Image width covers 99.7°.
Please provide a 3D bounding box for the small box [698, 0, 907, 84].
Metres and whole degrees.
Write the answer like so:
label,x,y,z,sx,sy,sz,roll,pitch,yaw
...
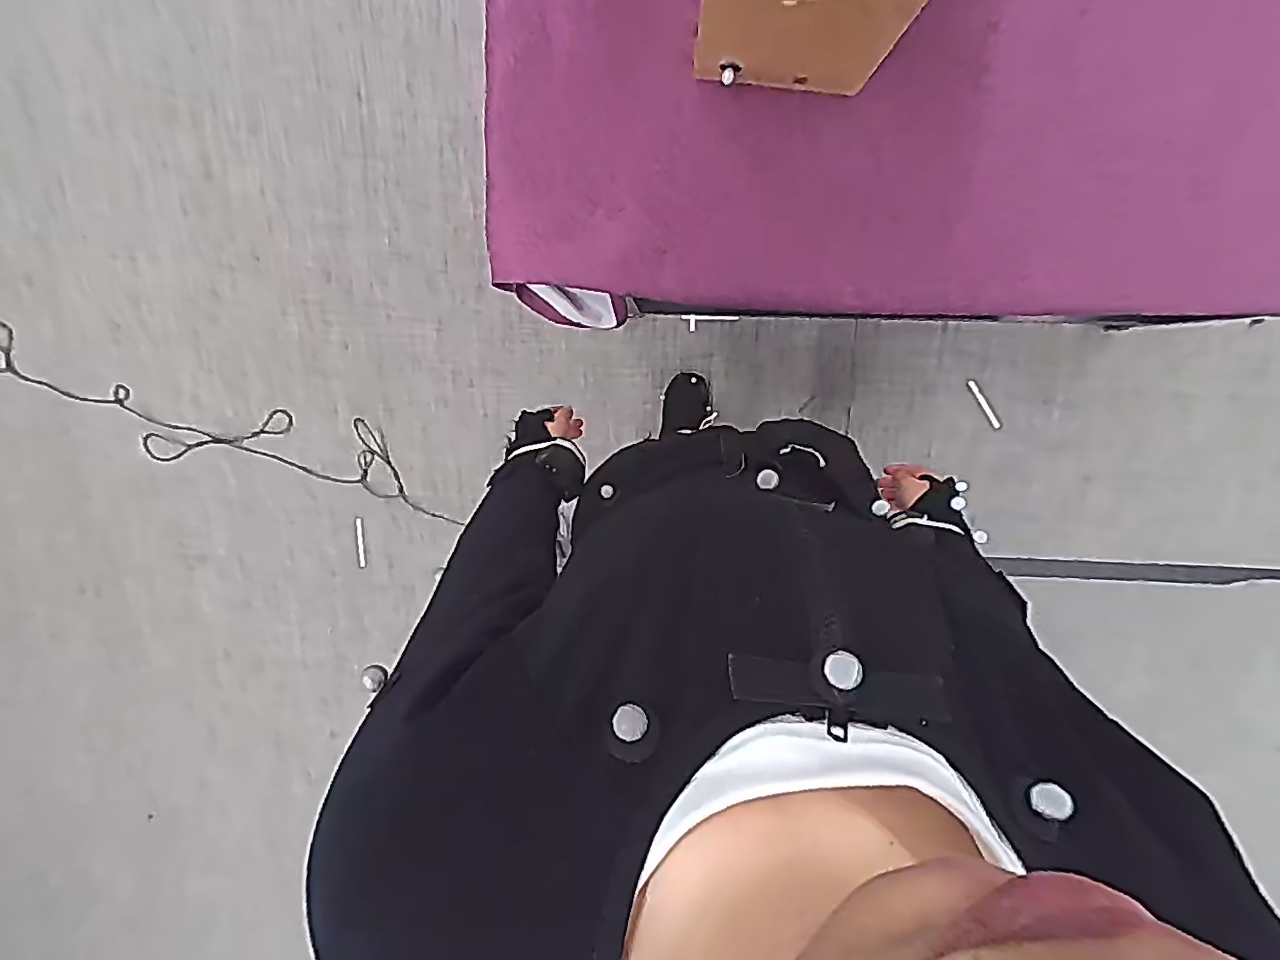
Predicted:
label,x,y,z,sx,sy,sz,roll,pitch,yaw
small box,0.142,-0.466,0.447,0.168,0.176,0.179,7,103,0
